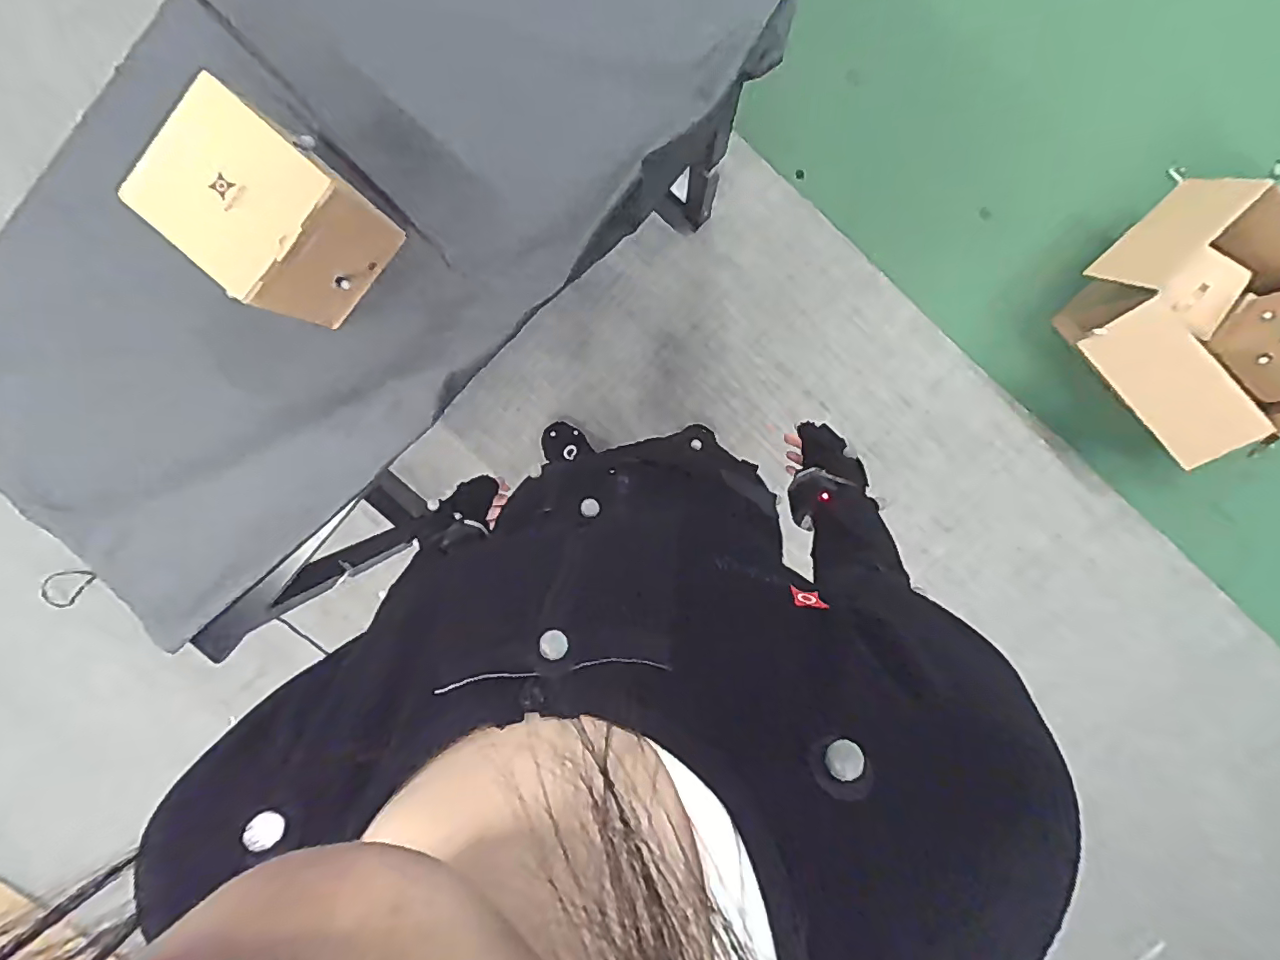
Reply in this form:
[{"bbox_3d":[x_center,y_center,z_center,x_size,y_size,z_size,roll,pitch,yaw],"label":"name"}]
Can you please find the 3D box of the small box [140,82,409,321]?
[{"bbox_3d":[-0.431,-0.321,0.669,0.179,0.176,0.168,41,96,-3],"label":"small box"}]
